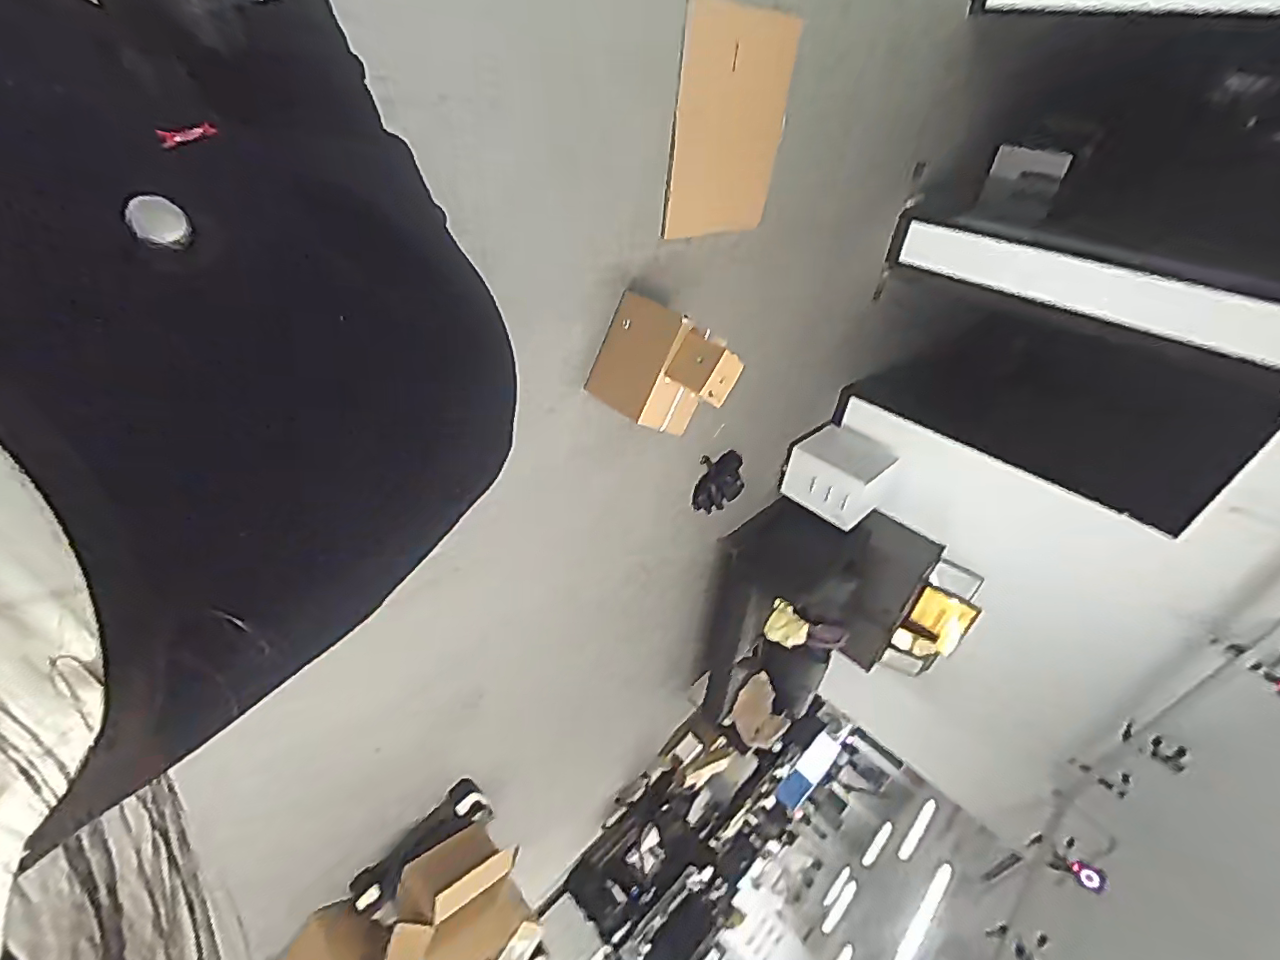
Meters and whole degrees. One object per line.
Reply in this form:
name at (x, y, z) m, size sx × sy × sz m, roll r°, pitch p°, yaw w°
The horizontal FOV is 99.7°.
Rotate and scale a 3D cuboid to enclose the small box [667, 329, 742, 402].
small box at (0.221, -0.401, 1.885) m, size 0.168 × 0.176 × 0.179 m, roll 11°, pitch 111°, yaw -56°
